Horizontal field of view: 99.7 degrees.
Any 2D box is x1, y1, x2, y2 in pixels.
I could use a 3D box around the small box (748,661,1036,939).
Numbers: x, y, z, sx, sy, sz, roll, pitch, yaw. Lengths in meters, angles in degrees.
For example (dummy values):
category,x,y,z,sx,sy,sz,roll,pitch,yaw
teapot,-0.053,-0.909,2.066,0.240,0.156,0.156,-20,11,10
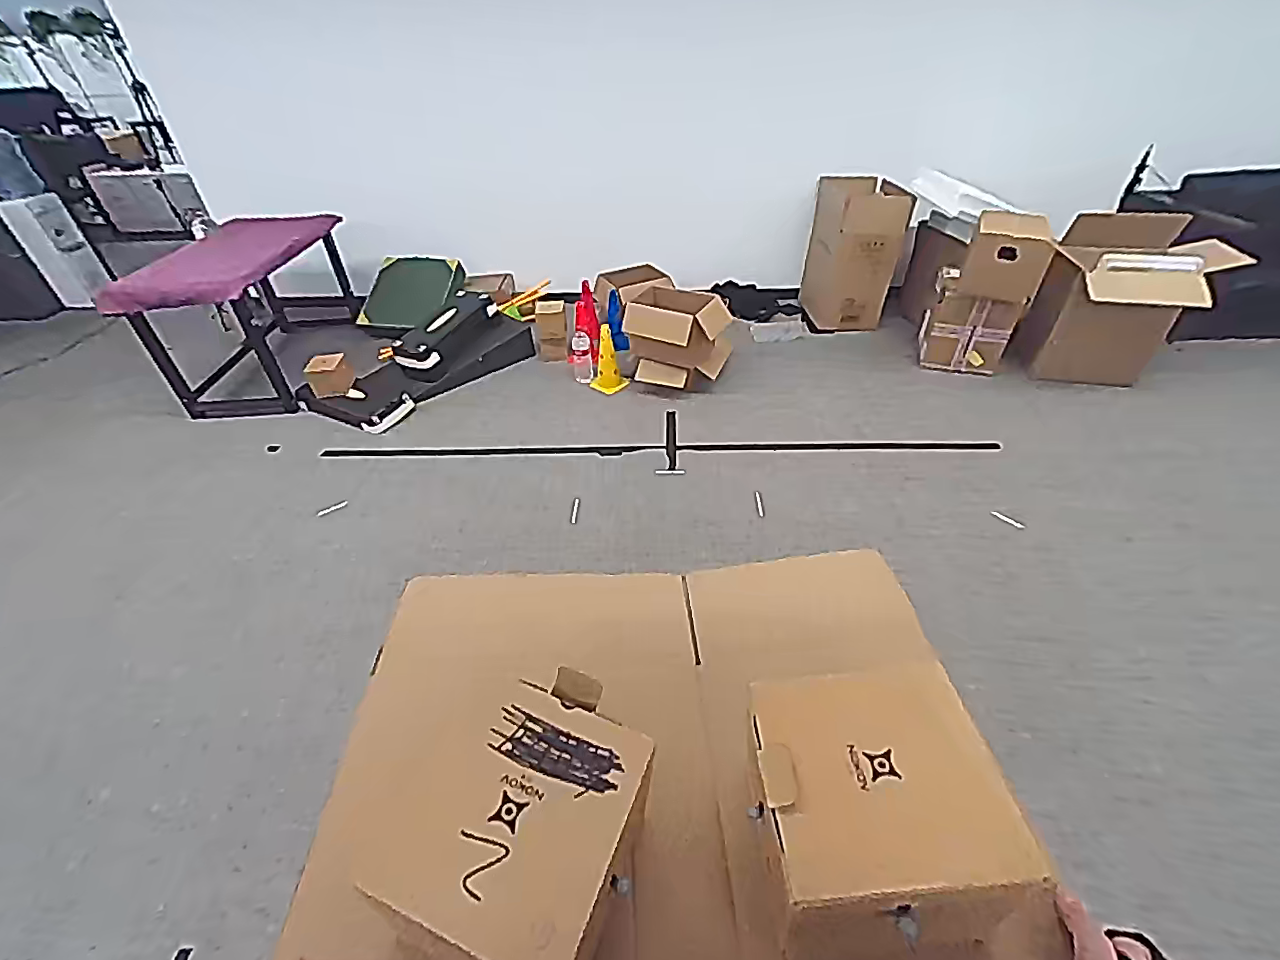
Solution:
category,x,y,z,sx,sy,sz,roll,pitch,yaw
small box,0.199,0.290,0.491,0.179,0.176,0.168,-8,39,3
